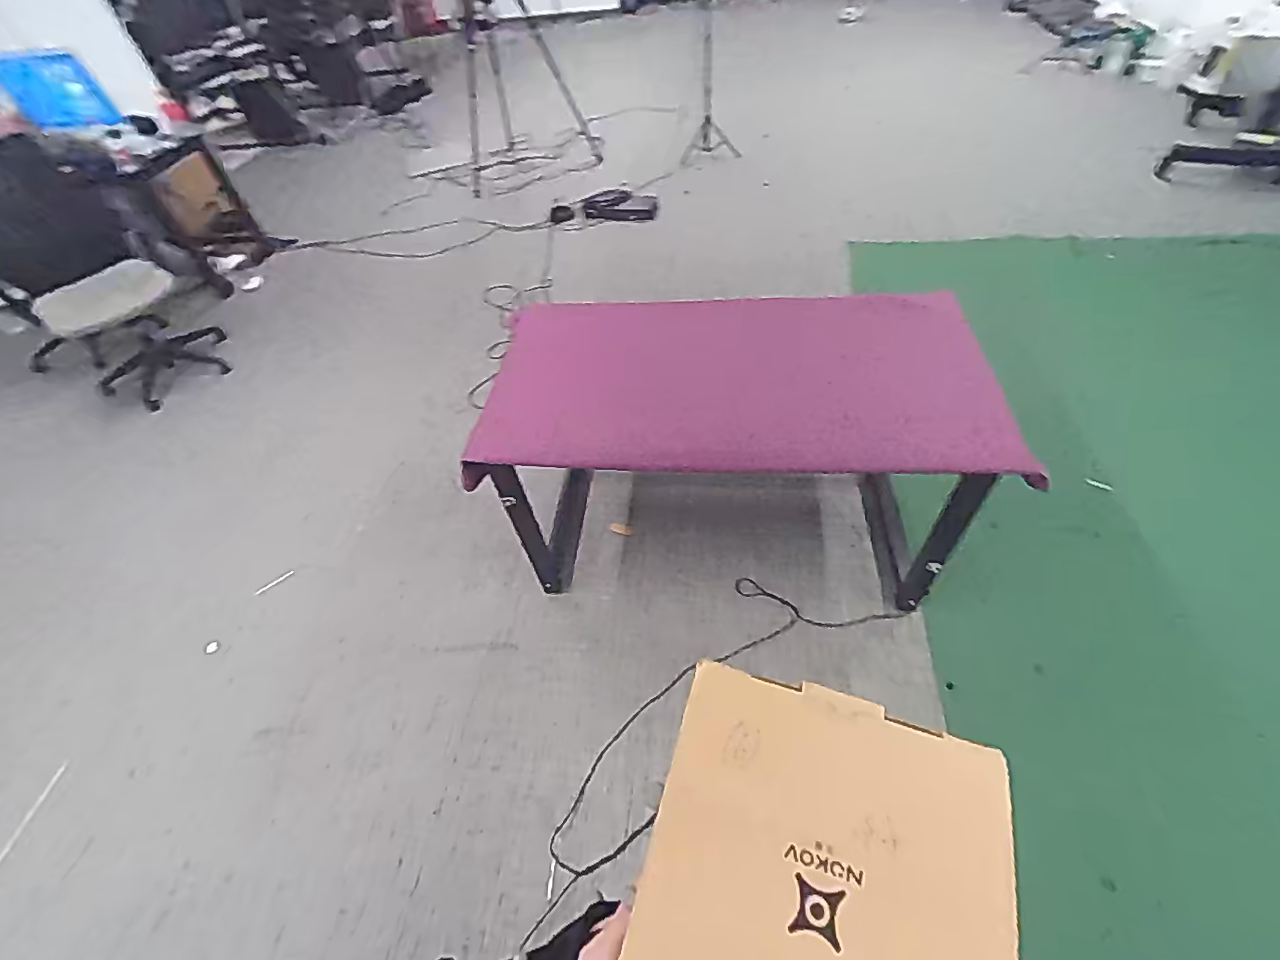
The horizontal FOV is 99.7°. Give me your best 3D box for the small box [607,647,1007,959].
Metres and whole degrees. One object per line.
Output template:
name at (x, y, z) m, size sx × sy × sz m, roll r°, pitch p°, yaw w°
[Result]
small box at (0.087, 0.229, 0.319) m, size 0.168 × 0.176 × 0.179 m, roll 13°, pitch 58°, yaw 14°
